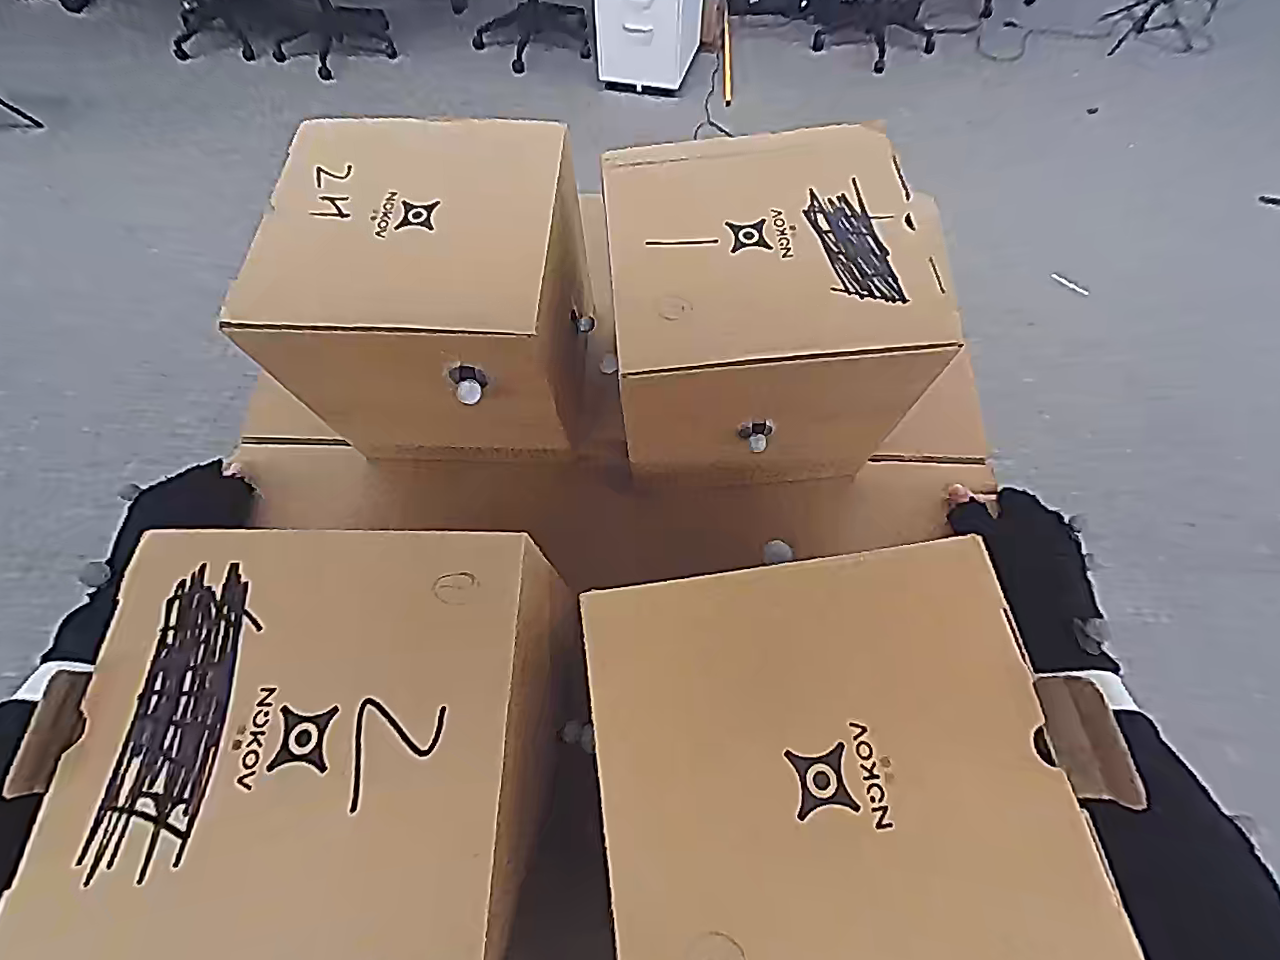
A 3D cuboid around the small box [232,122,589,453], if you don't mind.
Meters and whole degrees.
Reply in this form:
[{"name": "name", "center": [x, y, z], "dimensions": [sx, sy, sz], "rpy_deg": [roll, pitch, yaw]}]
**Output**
[{"name": "small box", "center": [-0.137, -0.129, 0.404], "dimensions": [0.179, 0.176, 0.168], "rpy_deg": [3, 67, 3]}]
